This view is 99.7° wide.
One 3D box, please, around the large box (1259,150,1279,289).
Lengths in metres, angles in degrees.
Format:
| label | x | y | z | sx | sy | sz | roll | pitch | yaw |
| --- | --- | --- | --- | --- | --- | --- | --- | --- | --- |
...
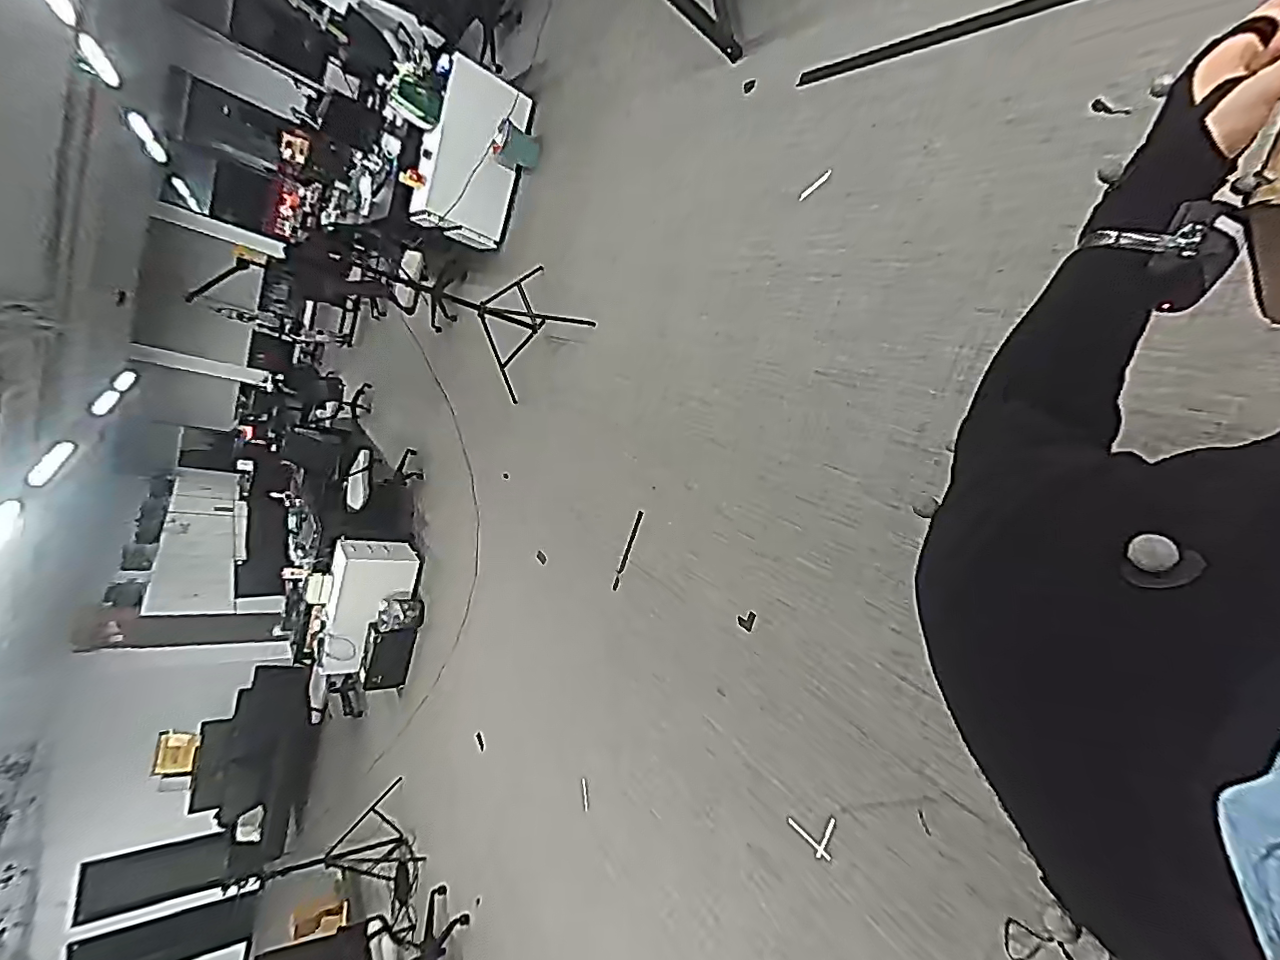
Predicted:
| label | x | y | z | sx | sy | sz | roll | pitch | yaw |
| --- | --- | --- | --- | --- | --- | --- | --- | --- | --- |
| large box | 0.713 | -0.271 | 0.303 | 0.408 | 0.320 | 0.320 | 27 | 104 | 51 |
